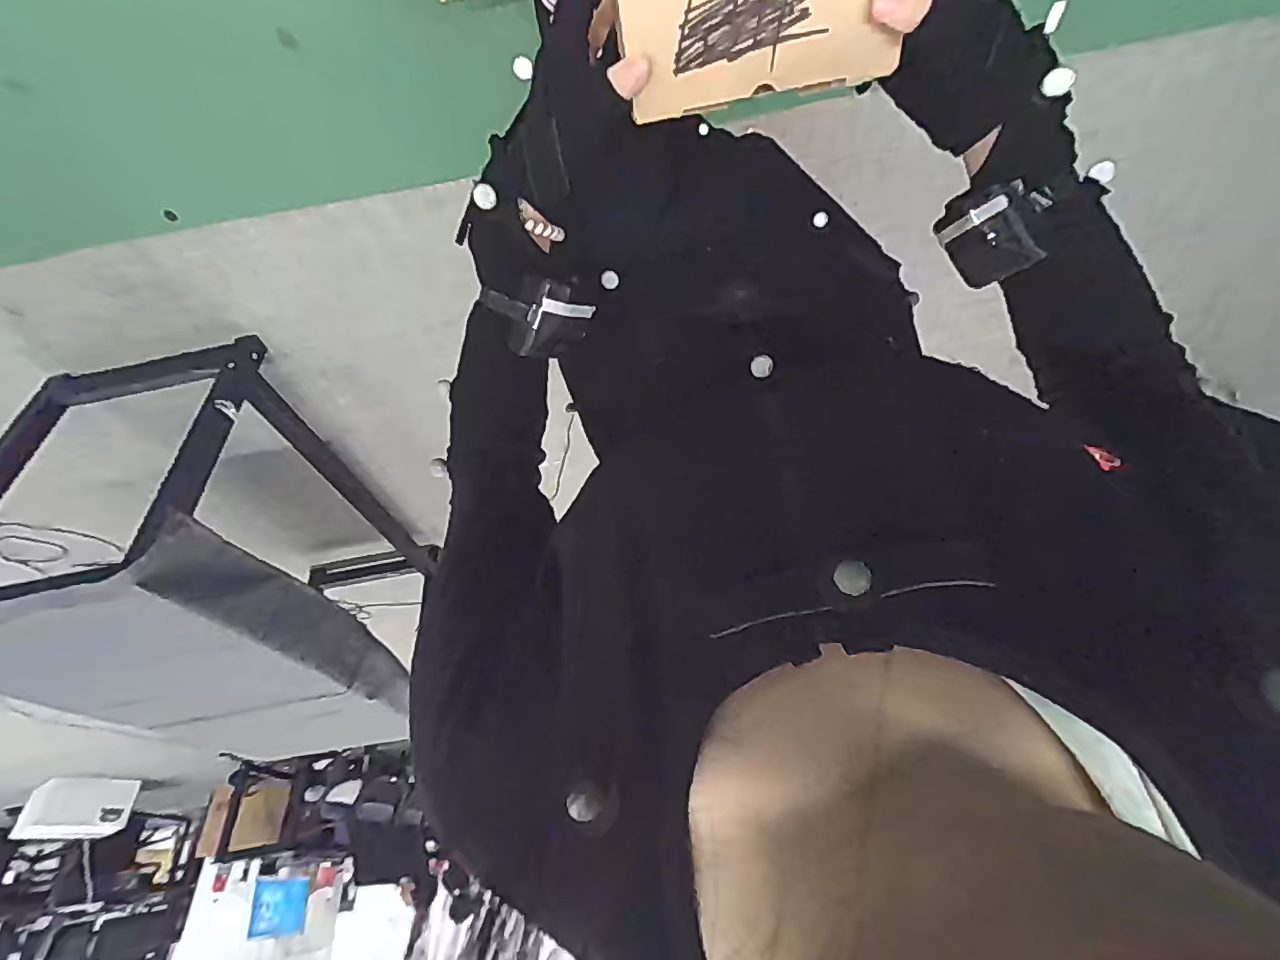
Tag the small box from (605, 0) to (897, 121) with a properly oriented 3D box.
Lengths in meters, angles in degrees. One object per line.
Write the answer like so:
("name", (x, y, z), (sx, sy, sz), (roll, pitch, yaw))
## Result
("small box", (0.054, -0.354, 0.322), (0.168, 0.176, 0.179), (-8, 141, 4))
